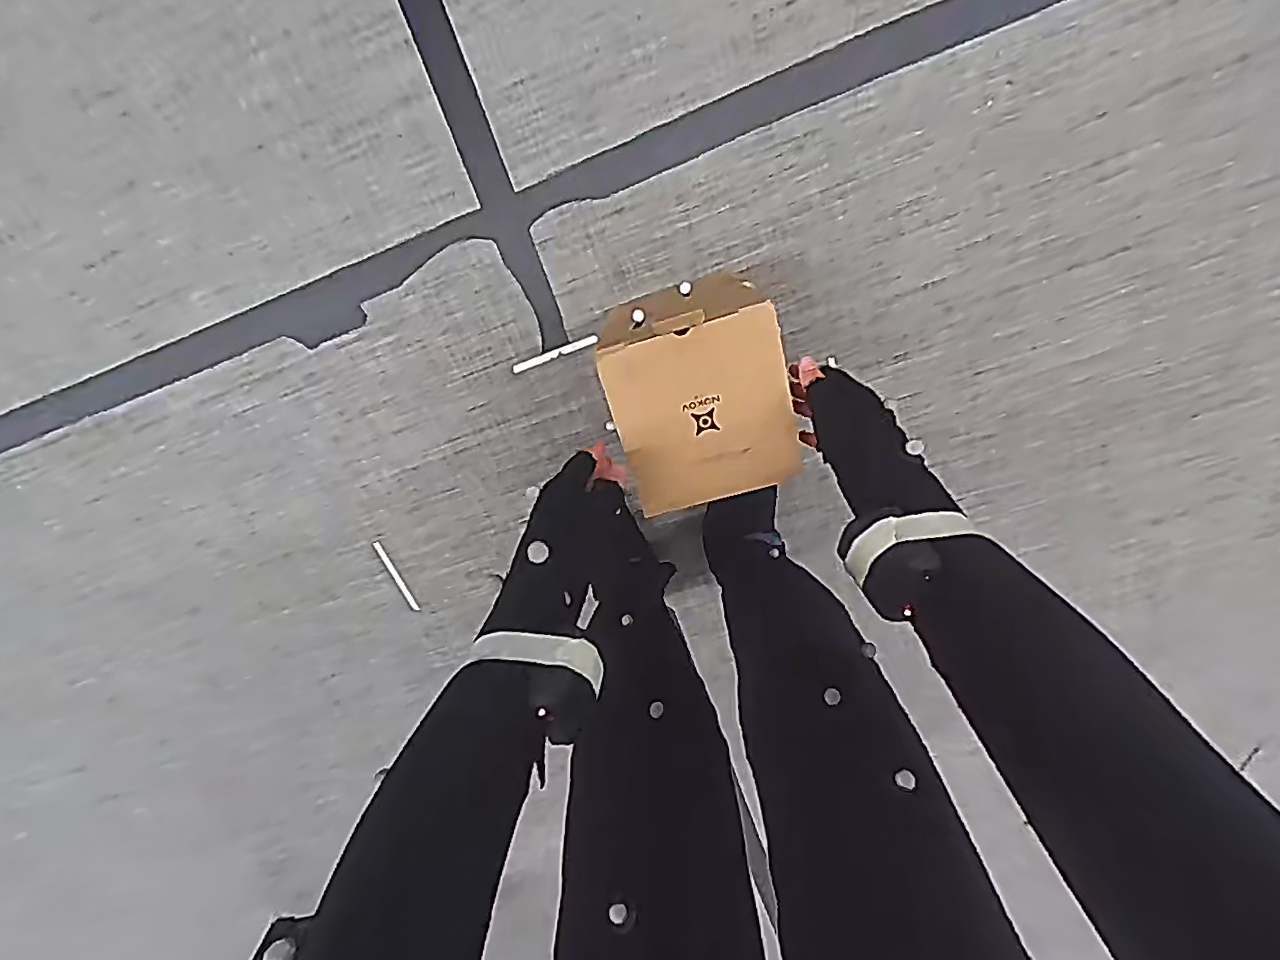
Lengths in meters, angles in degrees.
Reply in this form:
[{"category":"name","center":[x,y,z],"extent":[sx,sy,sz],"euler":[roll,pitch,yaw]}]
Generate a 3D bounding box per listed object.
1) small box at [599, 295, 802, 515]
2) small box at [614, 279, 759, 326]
[{"category":"small box","center":[0.061,-0.091,0.583],"extent":[0.168,0.176,0.179],"euler":[-14,114,7]},{"category":"small box","center":[0.067,-0.164,0.729],"extent":[0.179,0.176,0.168],"euler":[-15,113,4]}]
